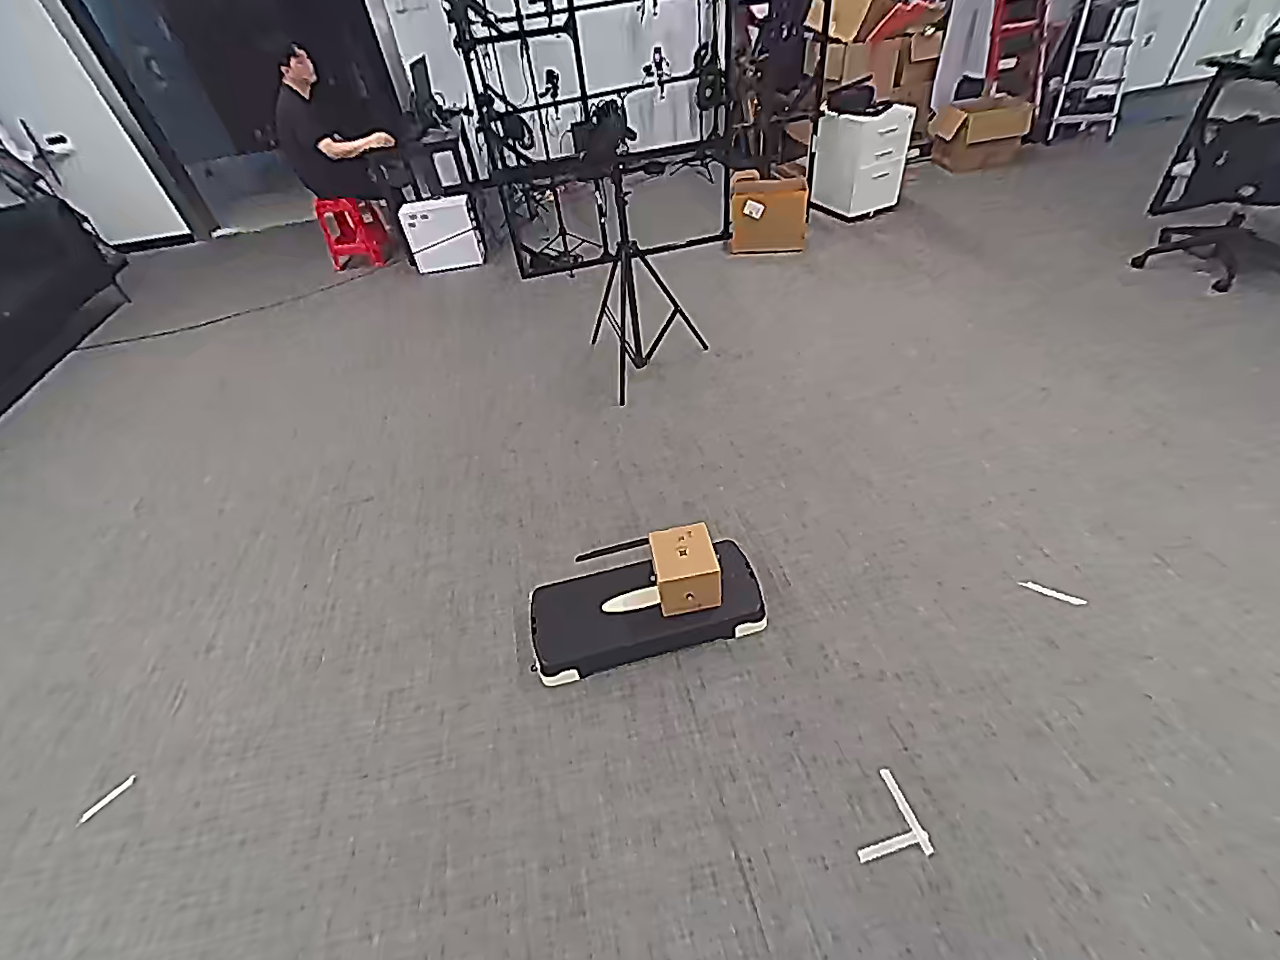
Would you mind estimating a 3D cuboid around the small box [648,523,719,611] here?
[{"bbox_3d":[0.123,0.249,1.513,0.168,0.176,0.179,-10,43,-2],"label":"small box"}]
